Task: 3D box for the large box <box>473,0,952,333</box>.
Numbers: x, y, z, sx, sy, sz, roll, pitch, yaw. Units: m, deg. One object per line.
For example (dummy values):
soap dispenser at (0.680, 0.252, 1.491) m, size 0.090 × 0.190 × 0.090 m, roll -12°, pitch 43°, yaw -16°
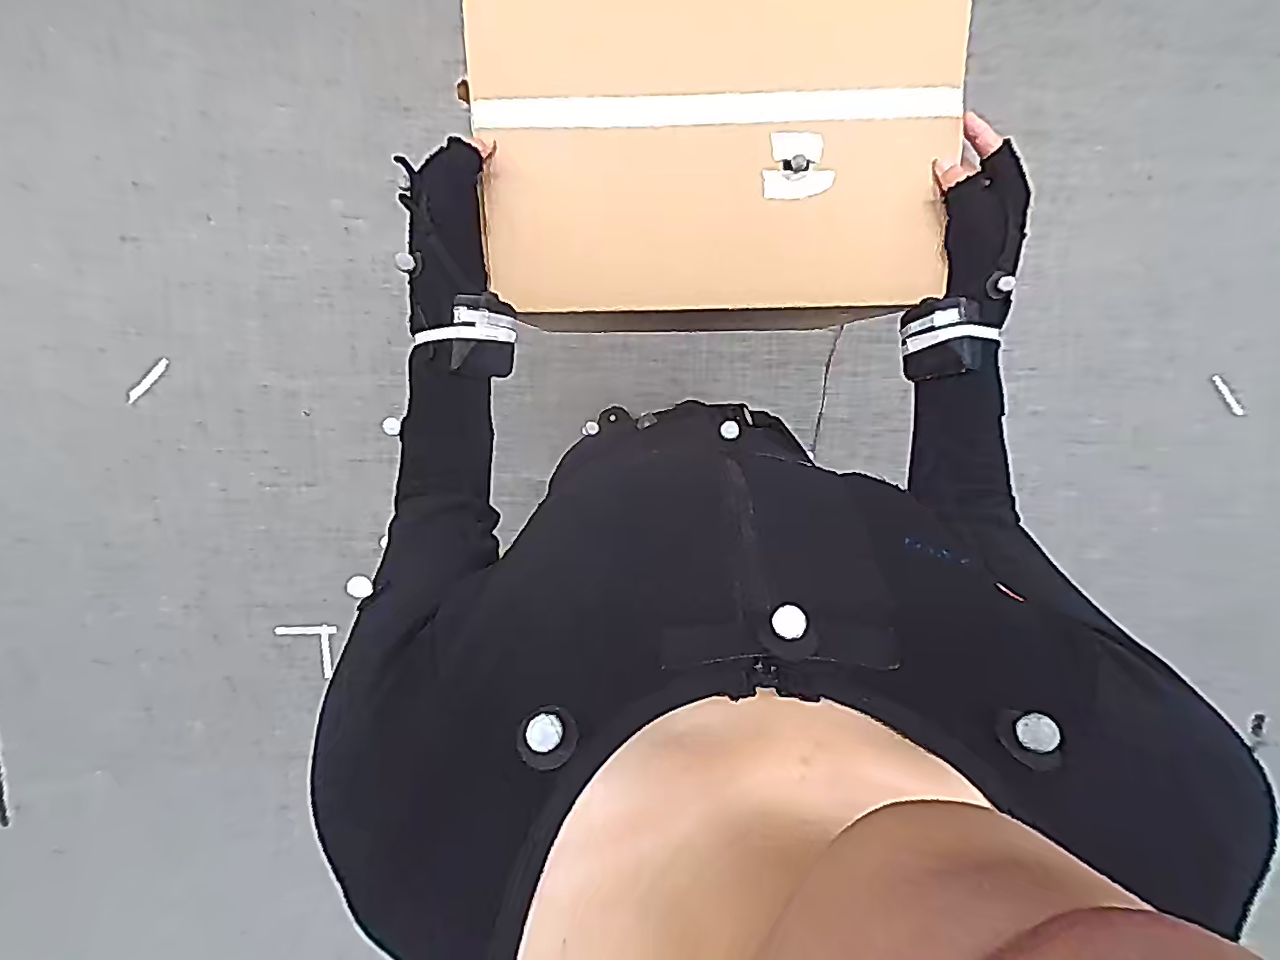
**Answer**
large box at (0.060, -0.342, 0.611) m, size 0.408 × 0.320 × 0.320 m, roll -1°, pitch 102°, yaw 0°
